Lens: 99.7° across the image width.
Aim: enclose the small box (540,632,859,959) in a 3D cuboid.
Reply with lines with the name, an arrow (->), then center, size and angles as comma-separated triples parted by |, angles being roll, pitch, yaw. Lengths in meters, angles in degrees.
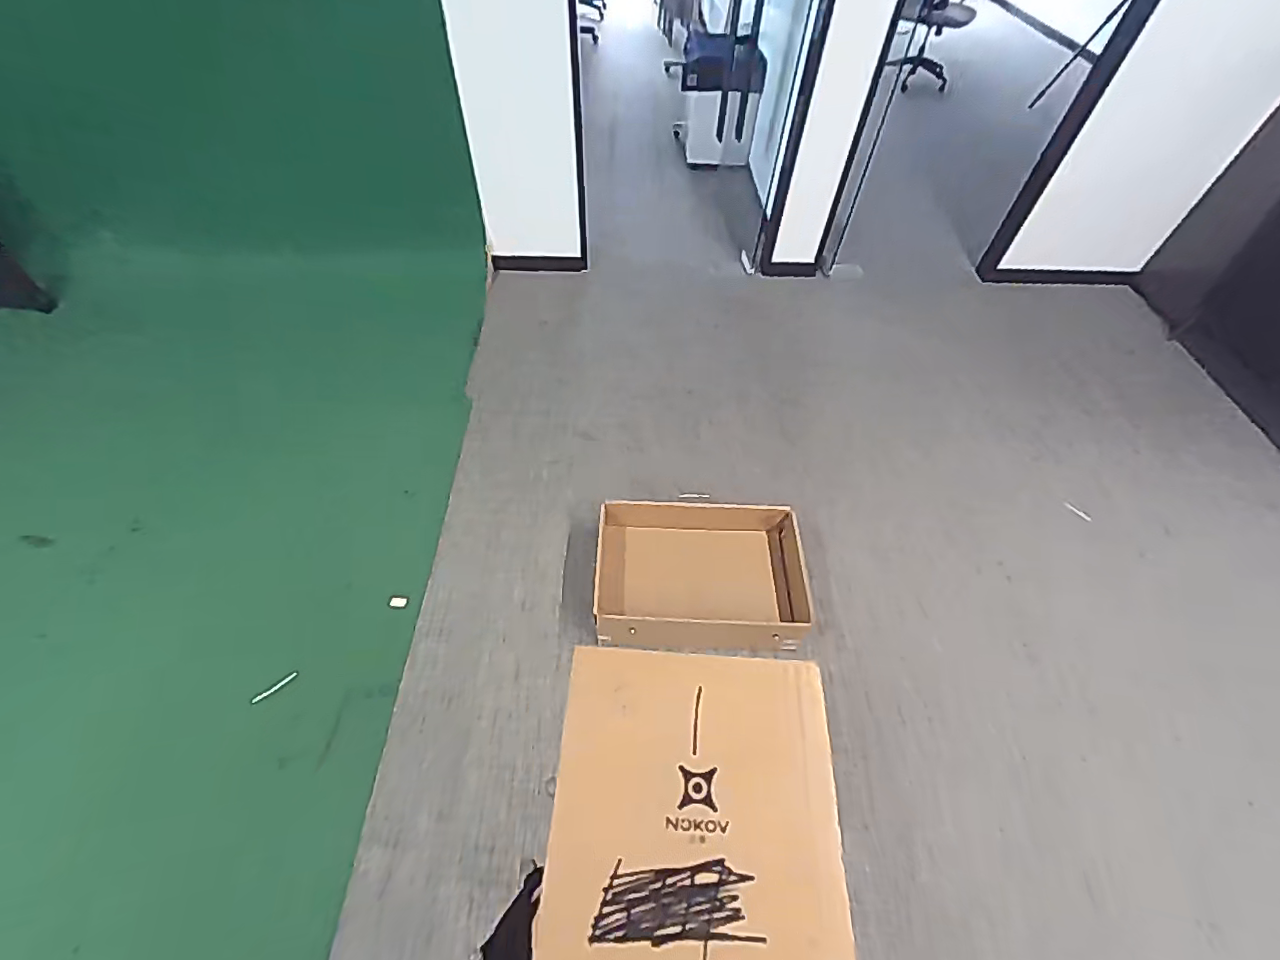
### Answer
small box -> 0.035, 0.224, 0.381 | 0.168, 0.176, 0.179 | 4, 56, 1
